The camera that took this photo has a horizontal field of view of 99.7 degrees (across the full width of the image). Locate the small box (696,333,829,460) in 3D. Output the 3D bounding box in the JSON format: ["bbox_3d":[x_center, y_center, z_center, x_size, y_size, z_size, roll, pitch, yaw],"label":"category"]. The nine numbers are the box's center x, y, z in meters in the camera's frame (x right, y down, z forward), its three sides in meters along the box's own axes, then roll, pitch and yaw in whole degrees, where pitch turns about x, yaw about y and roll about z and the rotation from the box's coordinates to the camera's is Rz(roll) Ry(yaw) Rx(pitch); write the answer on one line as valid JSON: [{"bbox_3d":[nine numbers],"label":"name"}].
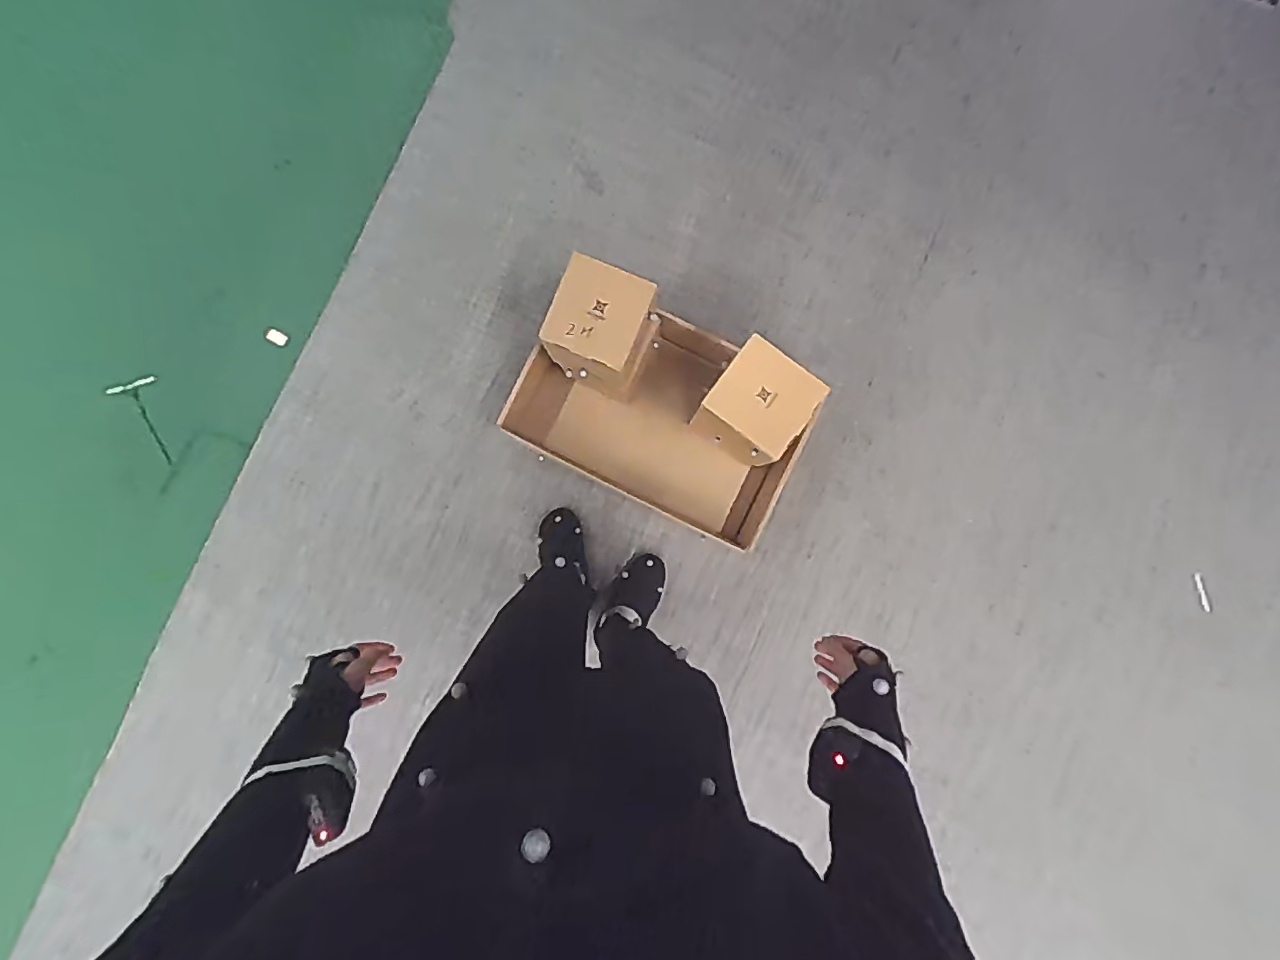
[{"bbox_3d":[0.225,-0.150,1.053,0.179,0.176,0.168,38,90,1],"label":"small box"}]

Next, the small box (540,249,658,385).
[{"bbox_3d":[-0.075,-0.307,1.055,0.168,0.176,0.179,24,89,2],"label":"small box"}]
